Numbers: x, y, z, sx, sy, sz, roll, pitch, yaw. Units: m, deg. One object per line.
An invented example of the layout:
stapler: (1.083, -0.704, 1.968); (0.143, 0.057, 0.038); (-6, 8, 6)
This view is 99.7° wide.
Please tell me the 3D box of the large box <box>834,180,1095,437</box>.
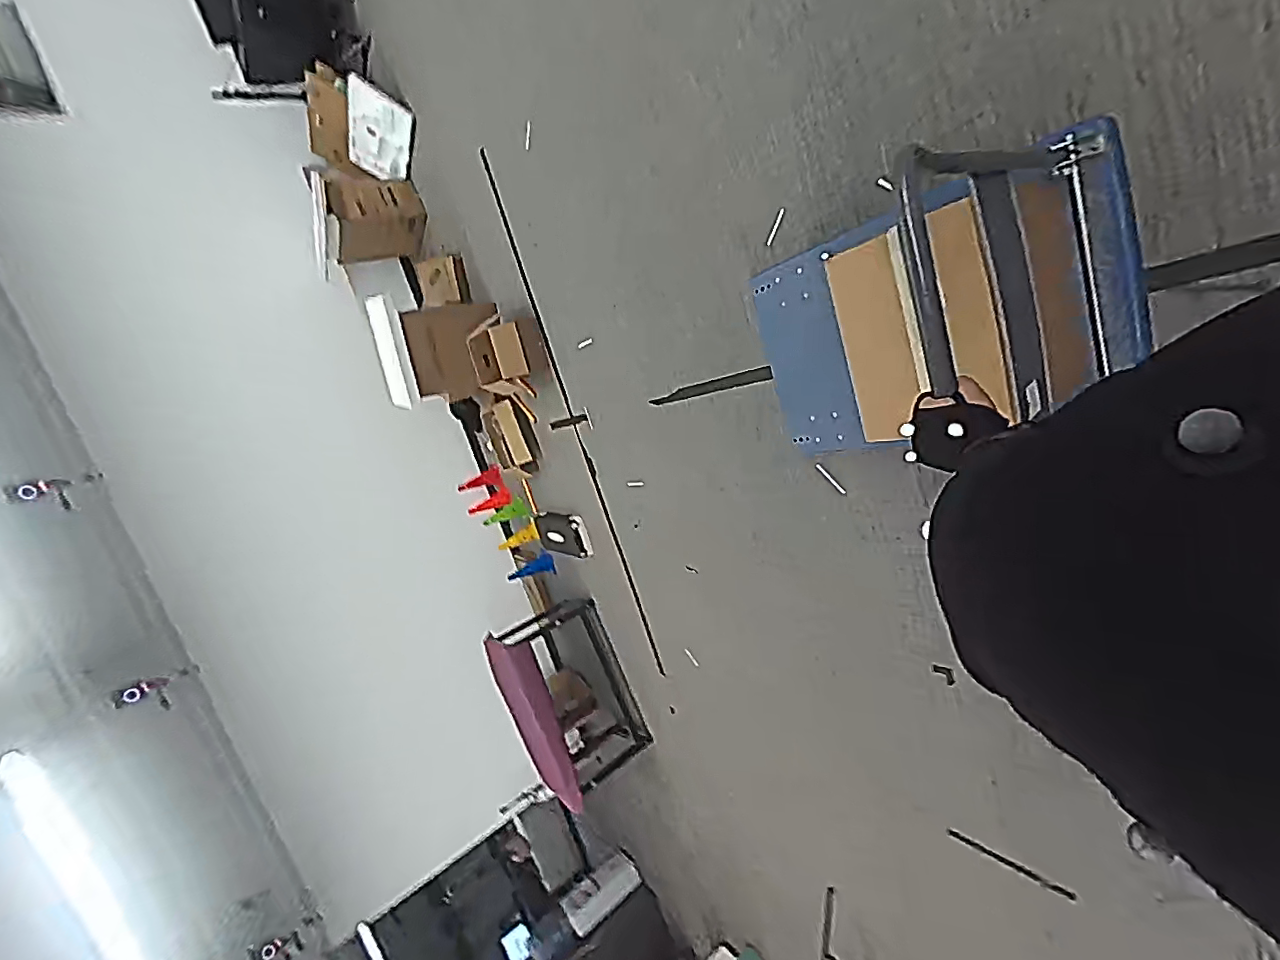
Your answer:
large box: (0.660, -0.332, 1.102); (0.320, 0.320, 0.408); (-3, 107, 56)
